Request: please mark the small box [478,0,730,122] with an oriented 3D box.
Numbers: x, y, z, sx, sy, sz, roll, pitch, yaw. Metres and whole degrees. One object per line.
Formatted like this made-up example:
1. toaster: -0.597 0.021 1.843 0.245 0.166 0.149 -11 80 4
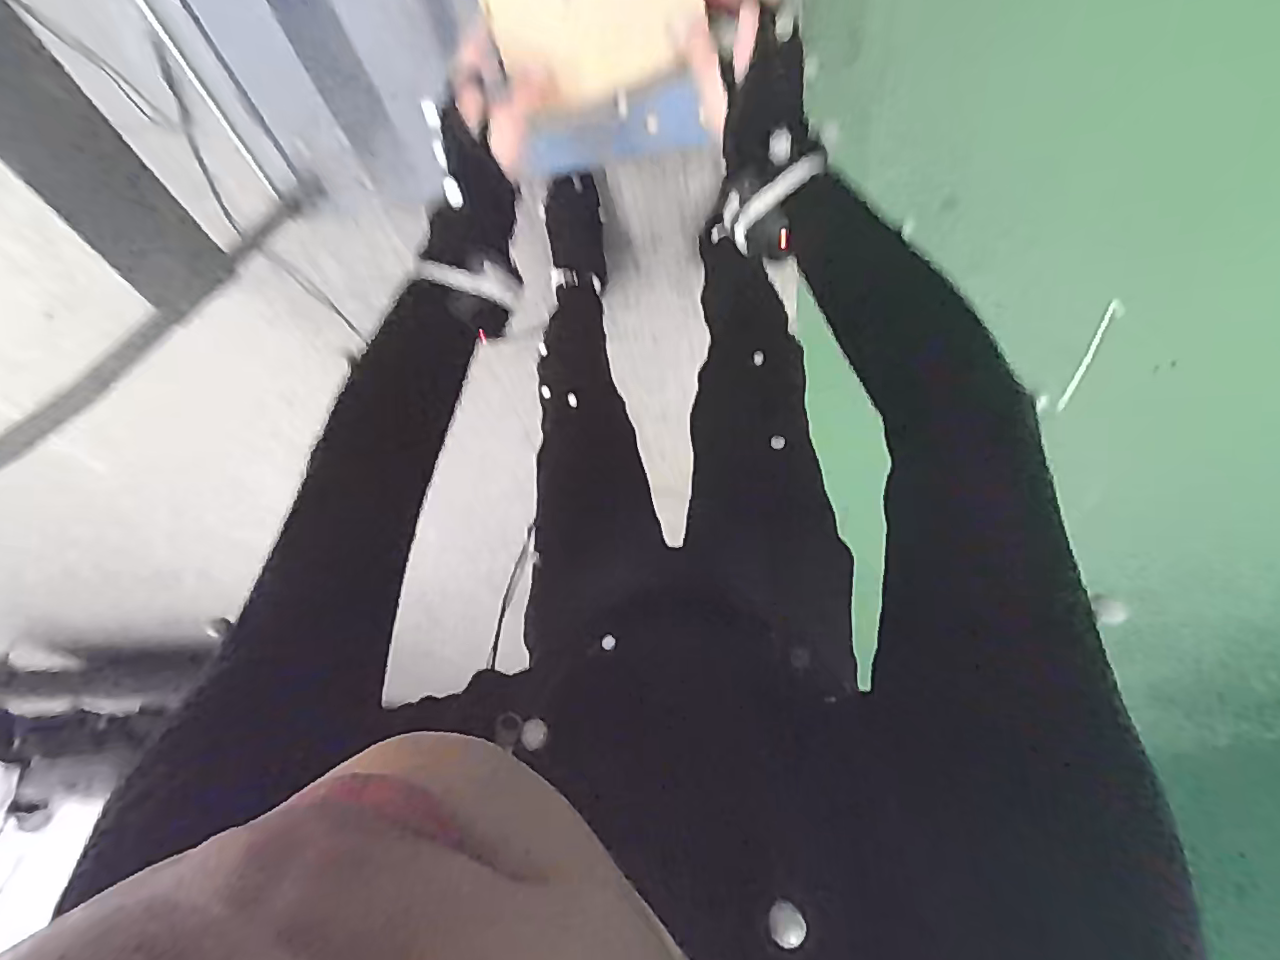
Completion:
1. small box: -0.029 -0.432 0.469 0.179 0.176 0.168 -6 124 20
